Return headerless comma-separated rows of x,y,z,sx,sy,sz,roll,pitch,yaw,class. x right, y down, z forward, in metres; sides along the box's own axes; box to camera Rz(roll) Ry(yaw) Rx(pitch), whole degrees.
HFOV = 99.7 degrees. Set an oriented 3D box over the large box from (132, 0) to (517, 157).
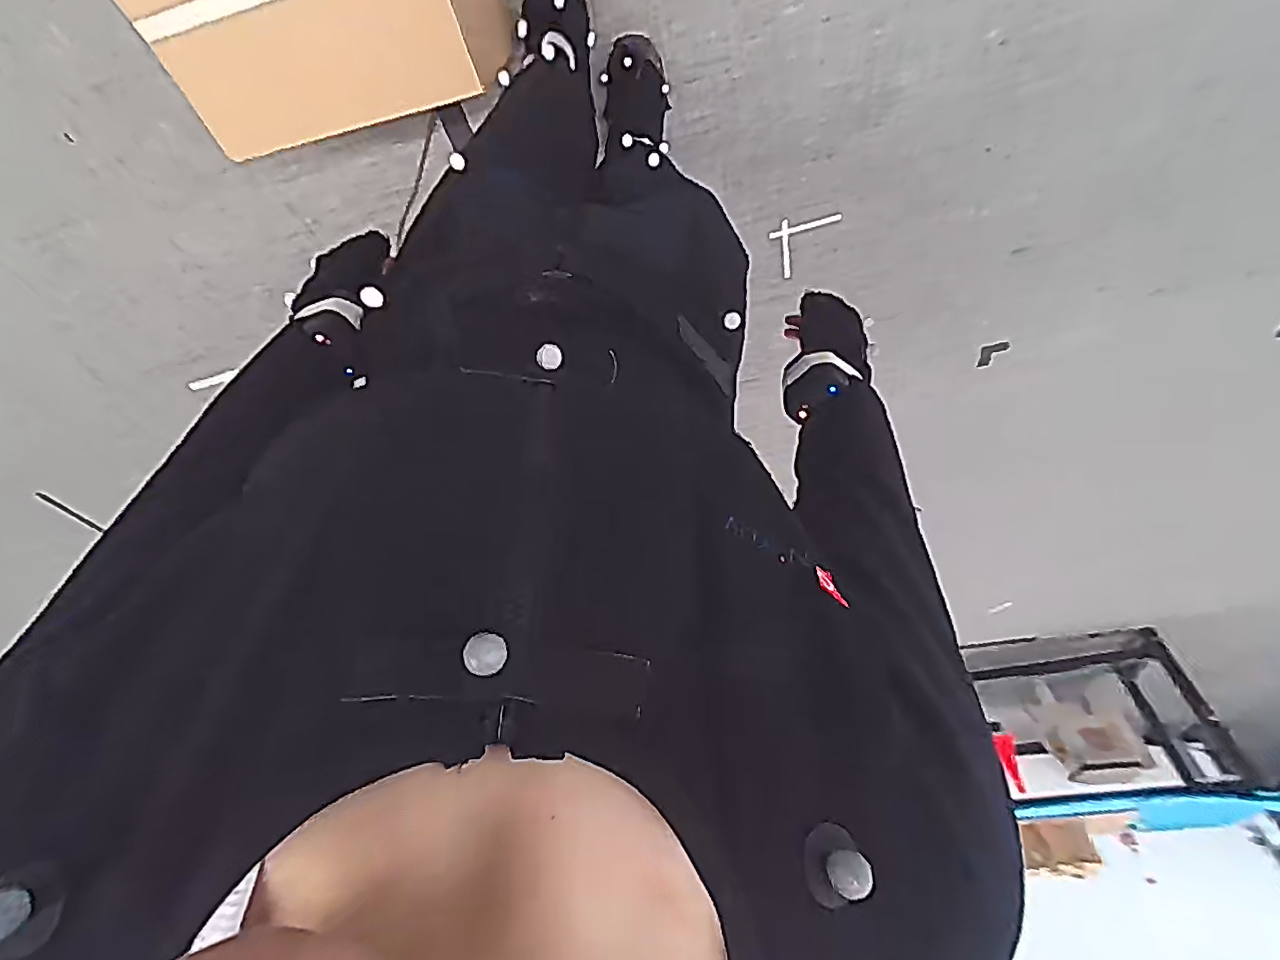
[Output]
-0.434,-0.716,0.759,0.408,0.320,0.320,-8,139,9,large box
